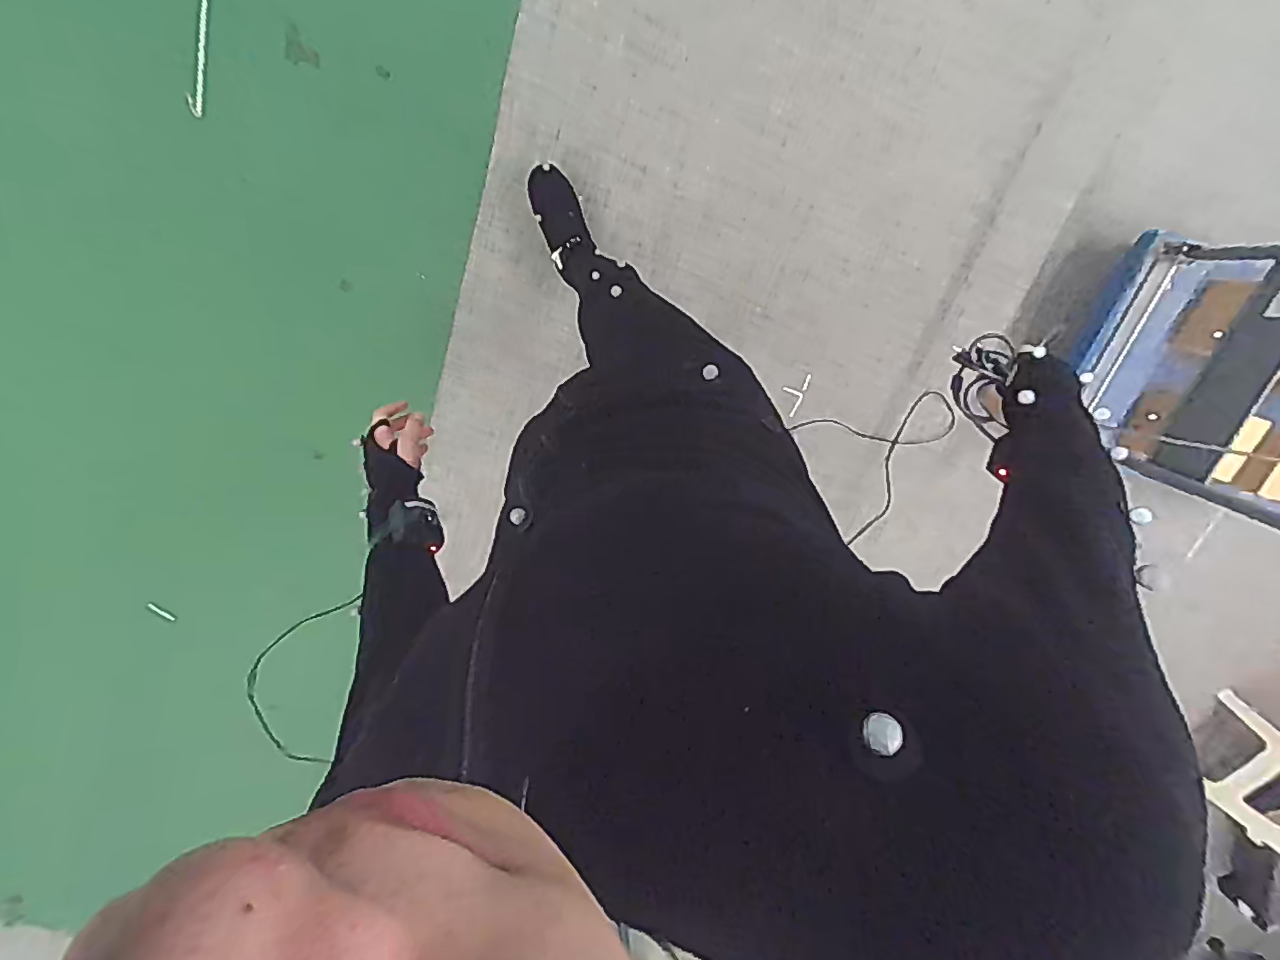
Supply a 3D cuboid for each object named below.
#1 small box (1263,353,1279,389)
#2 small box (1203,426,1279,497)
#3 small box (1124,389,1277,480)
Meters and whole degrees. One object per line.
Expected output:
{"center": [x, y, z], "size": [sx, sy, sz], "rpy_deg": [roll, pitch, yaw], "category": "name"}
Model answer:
{"center": [1.737, -0.285, 1.336], "size": [0.179, 0.176, 0.168], "rpy_deg": [11, 111, -6], "category": "small box"}
{"center": [1.676, -0.051, 1.425], "size": [0.179, 0.176, 0.168], "rpy_deg": [13, 109, -6], "category": "small box"}
{"center": [1.426, -0.123, 1.388], "size": [0.179, 0.176, 0.168], "rpy_deg": [15, 110, -8], "category": "small box"}
